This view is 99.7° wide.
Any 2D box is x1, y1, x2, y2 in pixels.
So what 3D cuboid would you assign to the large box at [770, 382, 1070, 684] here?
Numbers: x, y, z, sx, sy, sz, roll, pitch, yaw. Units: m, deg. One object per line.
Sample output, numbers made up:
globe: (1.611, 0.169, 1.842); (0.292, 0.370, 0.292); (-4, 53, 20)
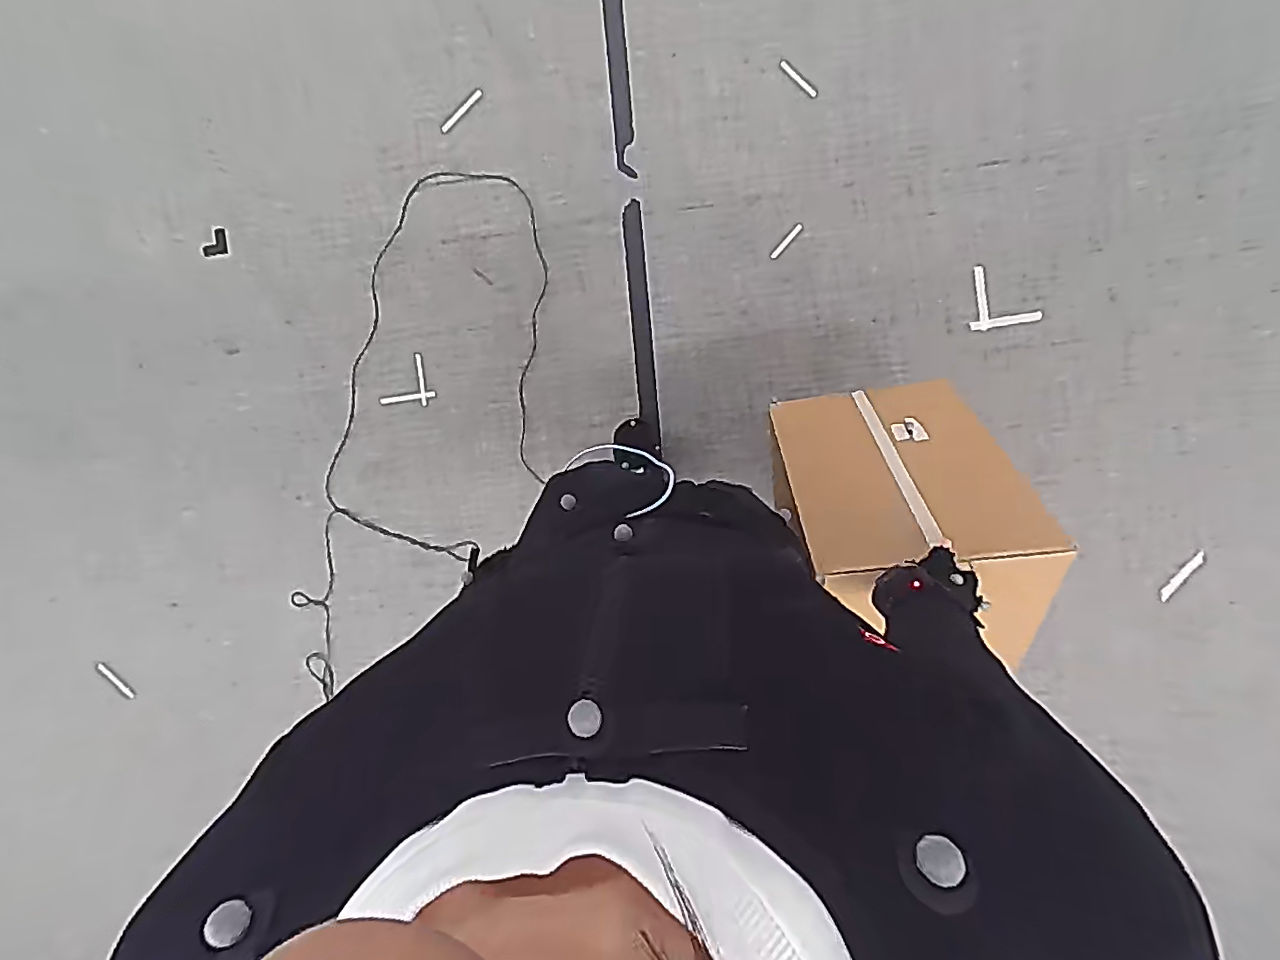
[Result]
large box: (0.419, 0.082, 0.934); (0.320, 0.408, 0.320); (-7, 130, 7)
